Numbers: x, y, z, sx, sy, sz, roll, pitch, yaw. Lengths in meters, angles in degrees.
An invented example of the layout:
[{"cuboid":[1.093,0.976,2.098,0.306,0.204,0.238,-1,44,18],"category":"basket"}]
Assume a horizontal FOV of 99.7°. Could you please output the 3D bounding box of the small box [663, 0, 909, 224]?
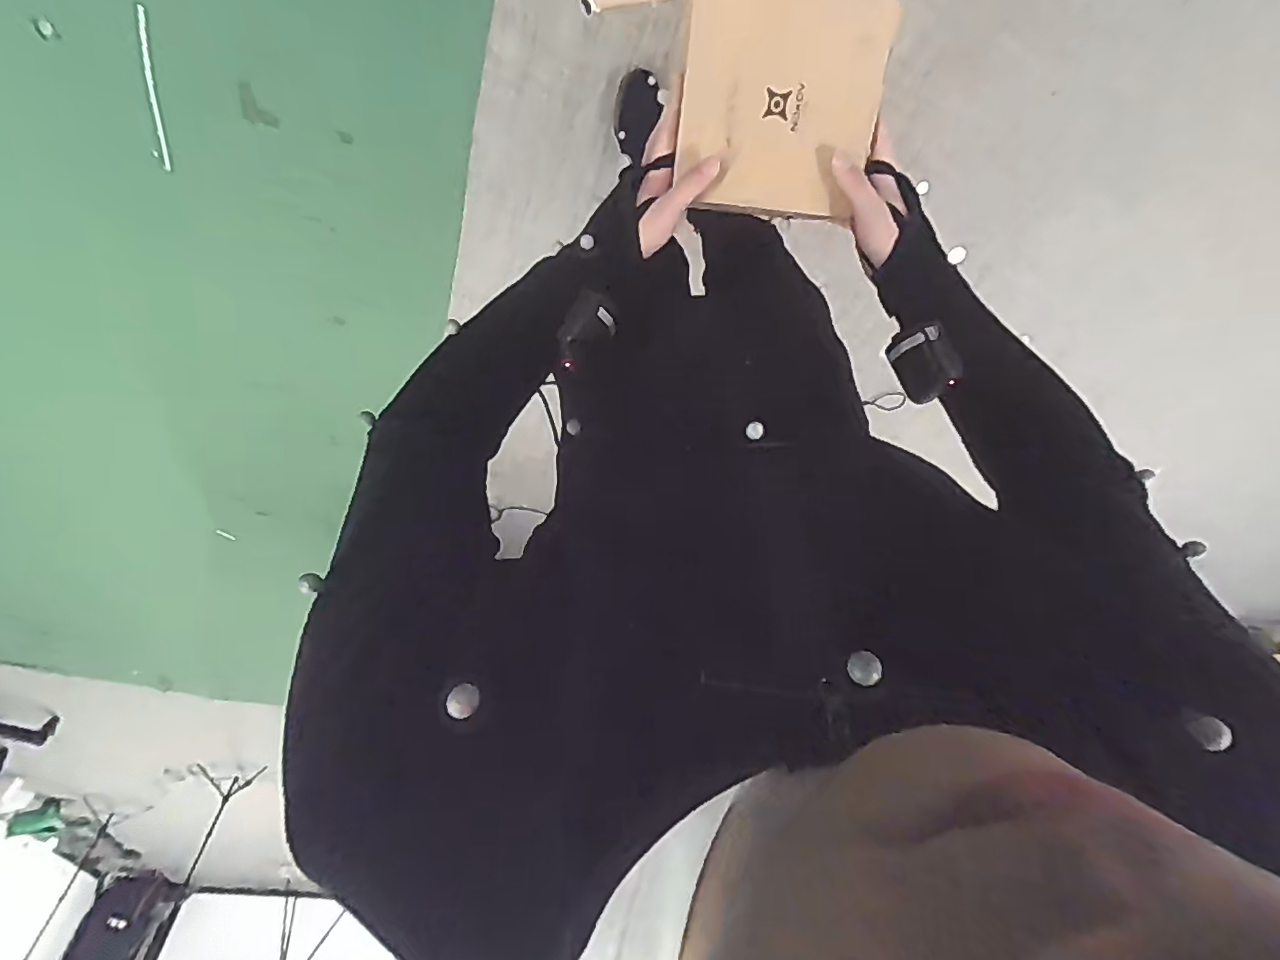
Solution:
[{"cuboid":[0.122,-0.354,0.535,0.179,0.176,0.168,5,115,-3],"category":"small box"}]
